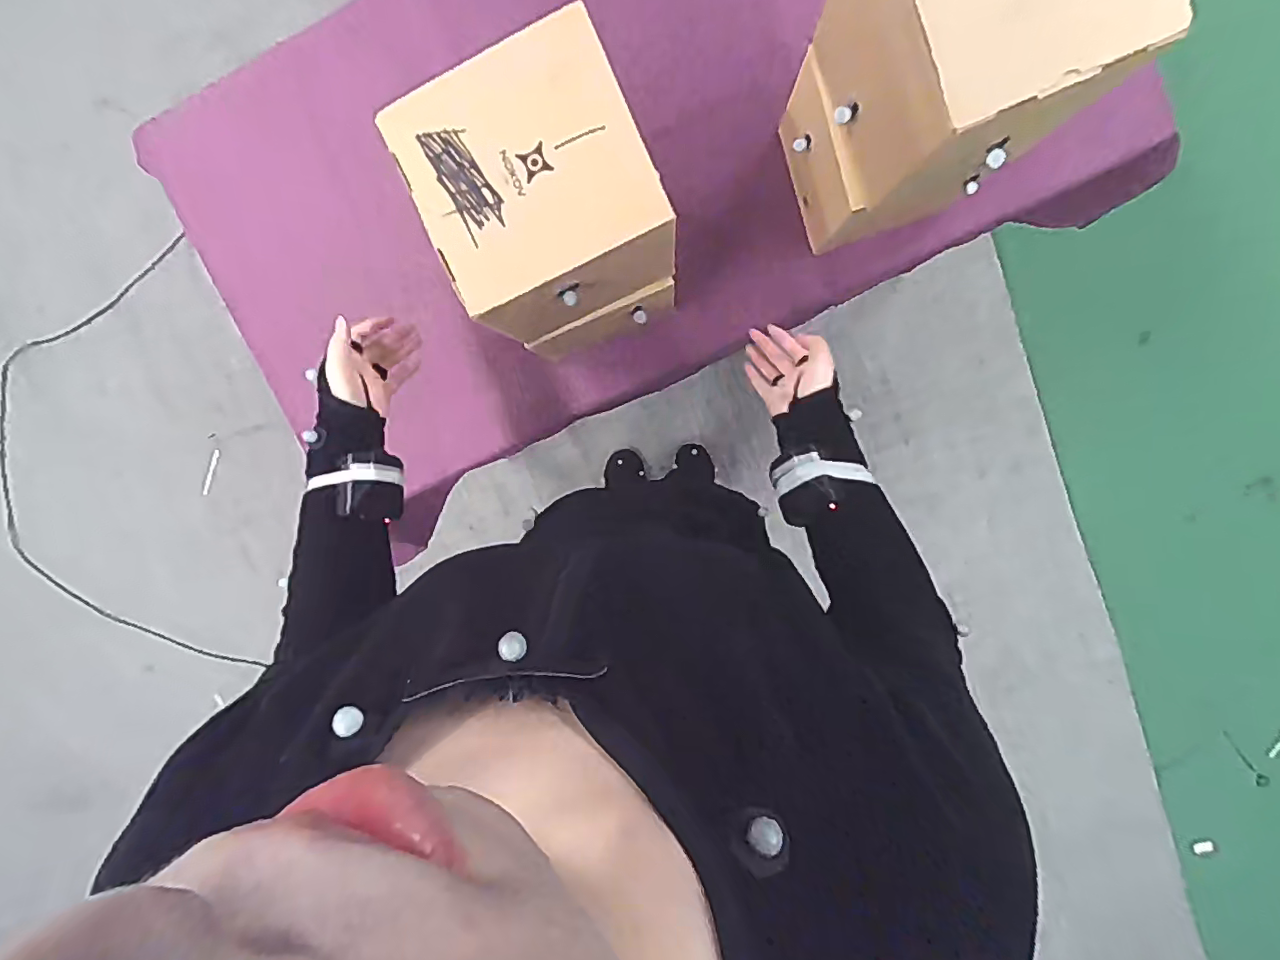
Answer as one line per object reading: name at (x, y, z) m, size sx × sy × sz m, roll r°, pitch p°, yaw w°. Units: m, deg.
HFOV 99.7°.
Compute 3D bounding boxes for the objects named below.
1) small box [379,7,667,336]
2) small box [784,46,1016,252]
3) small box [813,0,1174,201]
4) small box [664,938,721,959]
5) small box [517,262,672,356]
small box at (-0.083, -0.244, 0.483) m, size 0.179 × 0.176 × 0.168 m, roll -24°, pitch 96°, yaw 6°
small box at (0.272, -0.381, 0.610) m, size 0.179 × 0.176 × 0.168 m, roll -17°, pitch 96°, yaw 5°
small box at (0.265, -0.360, 0.447) m, size 0.168 × 0.176 × 0.179 m, roll -21°, pitch 97°, yaw 5°
small box at (0.163, 1.529, 1.629) m, size 0.179 × 0.176 × 0.168 m, roll -4°, pitch 98°, yaw 5°
small box at (-0.070, -0.260, 0.647) m, size 0.179 × 0.176 × 0.168 m, roll -20°, pitch 96°, yaw 6°
